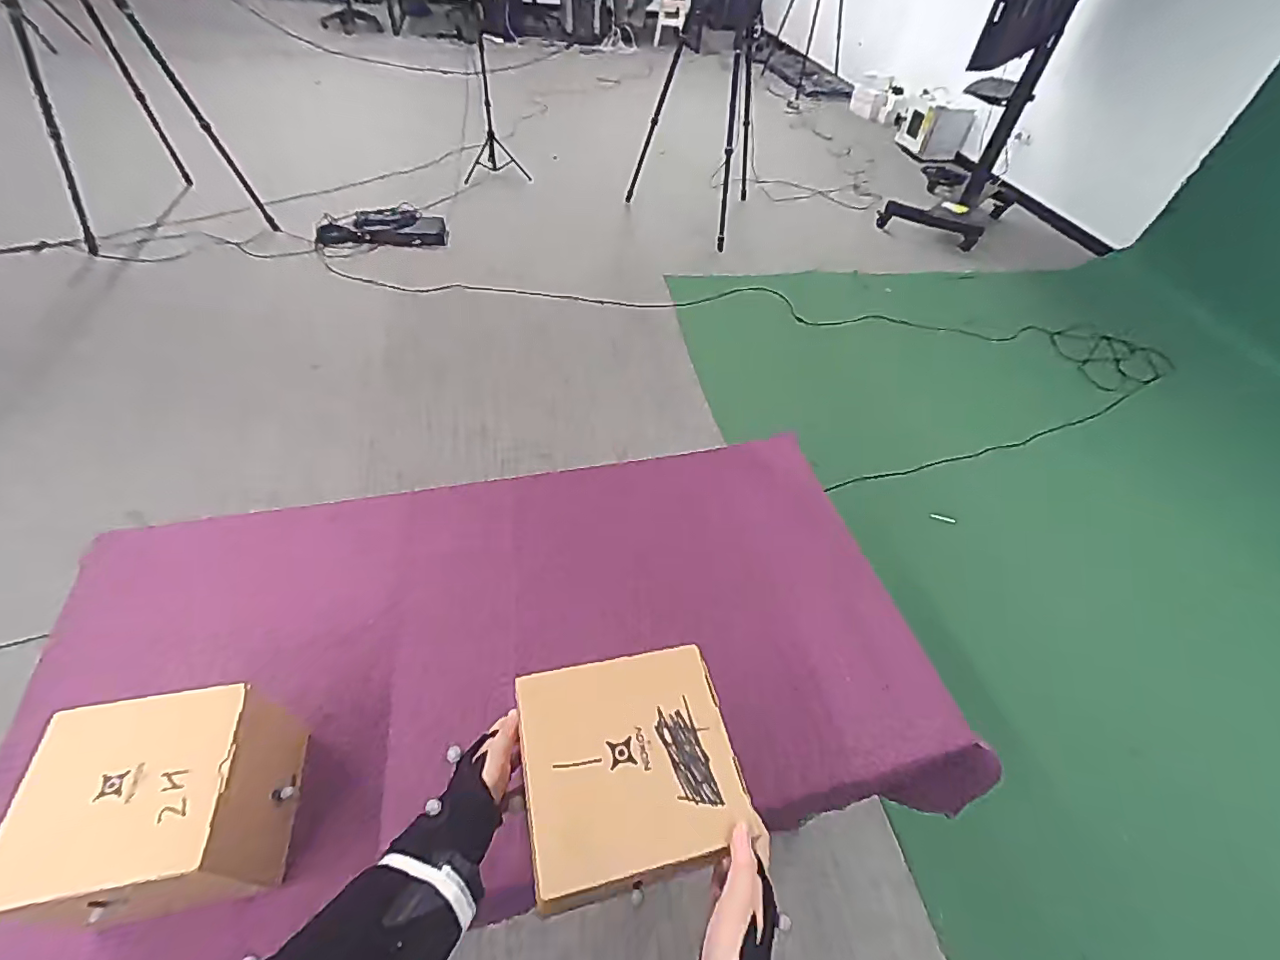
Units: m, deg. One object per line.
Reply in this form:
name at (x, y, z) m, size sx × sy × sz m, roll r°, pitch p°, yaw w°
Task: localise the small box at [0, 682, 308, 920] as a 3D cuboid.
small box at (-0.483, 0.333, 0.561) m, size 0.179 × 0.176 × 0.168 m, roll -5°, pitch 50°, yaw -11°
